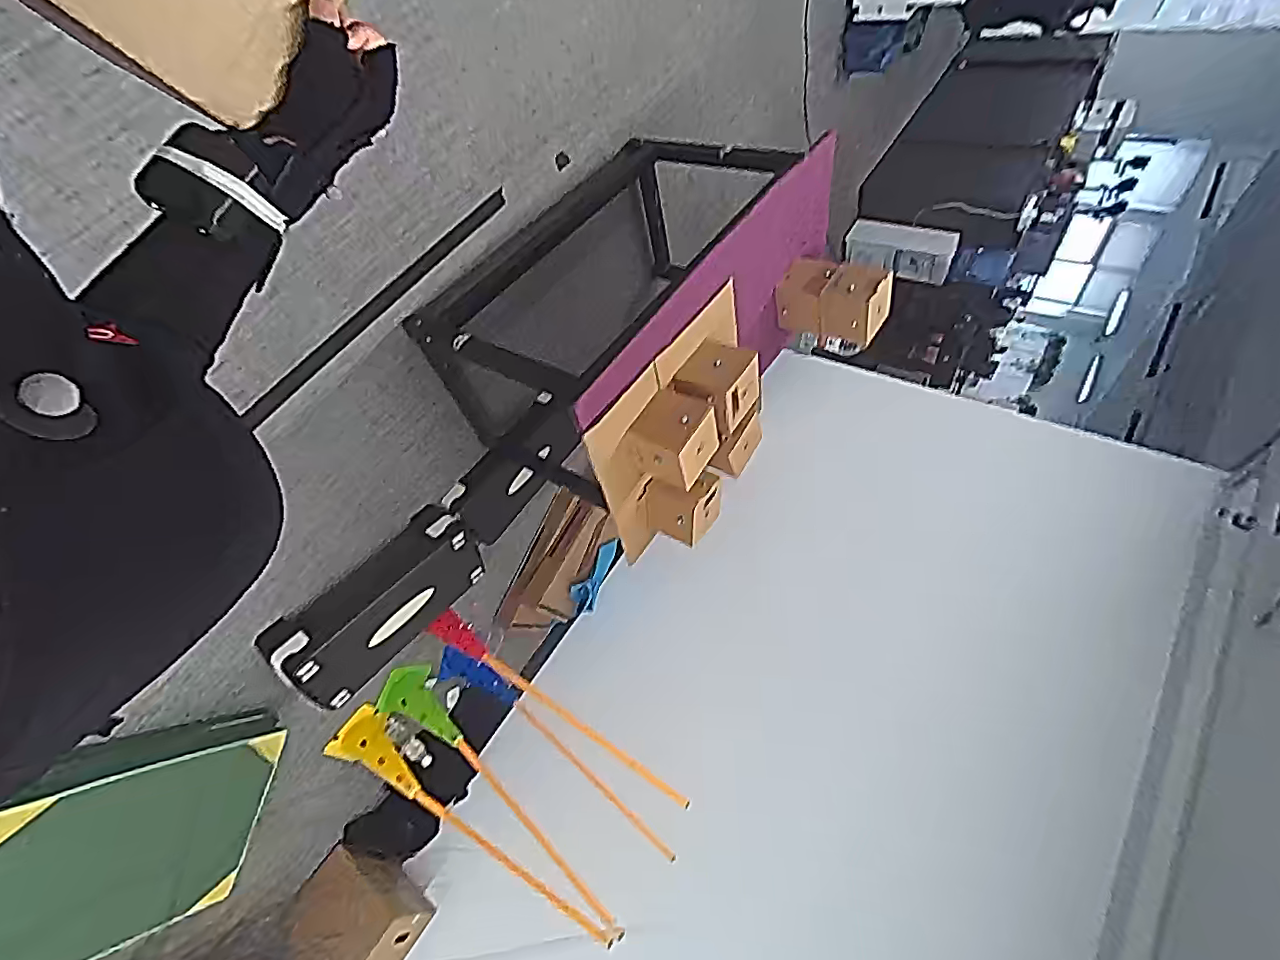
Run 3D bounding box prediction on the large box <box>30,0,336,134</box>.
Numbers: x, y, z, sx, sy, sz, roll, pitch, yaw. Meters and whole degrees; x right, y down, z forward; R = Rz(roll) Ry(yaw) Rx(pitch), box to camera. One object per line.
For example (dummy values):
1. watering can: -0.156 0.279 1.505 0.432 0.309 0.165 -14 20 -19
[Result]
1. large box: -0.407 -0.504 0.295 0.320 0.320 0.408 -56 156 4
